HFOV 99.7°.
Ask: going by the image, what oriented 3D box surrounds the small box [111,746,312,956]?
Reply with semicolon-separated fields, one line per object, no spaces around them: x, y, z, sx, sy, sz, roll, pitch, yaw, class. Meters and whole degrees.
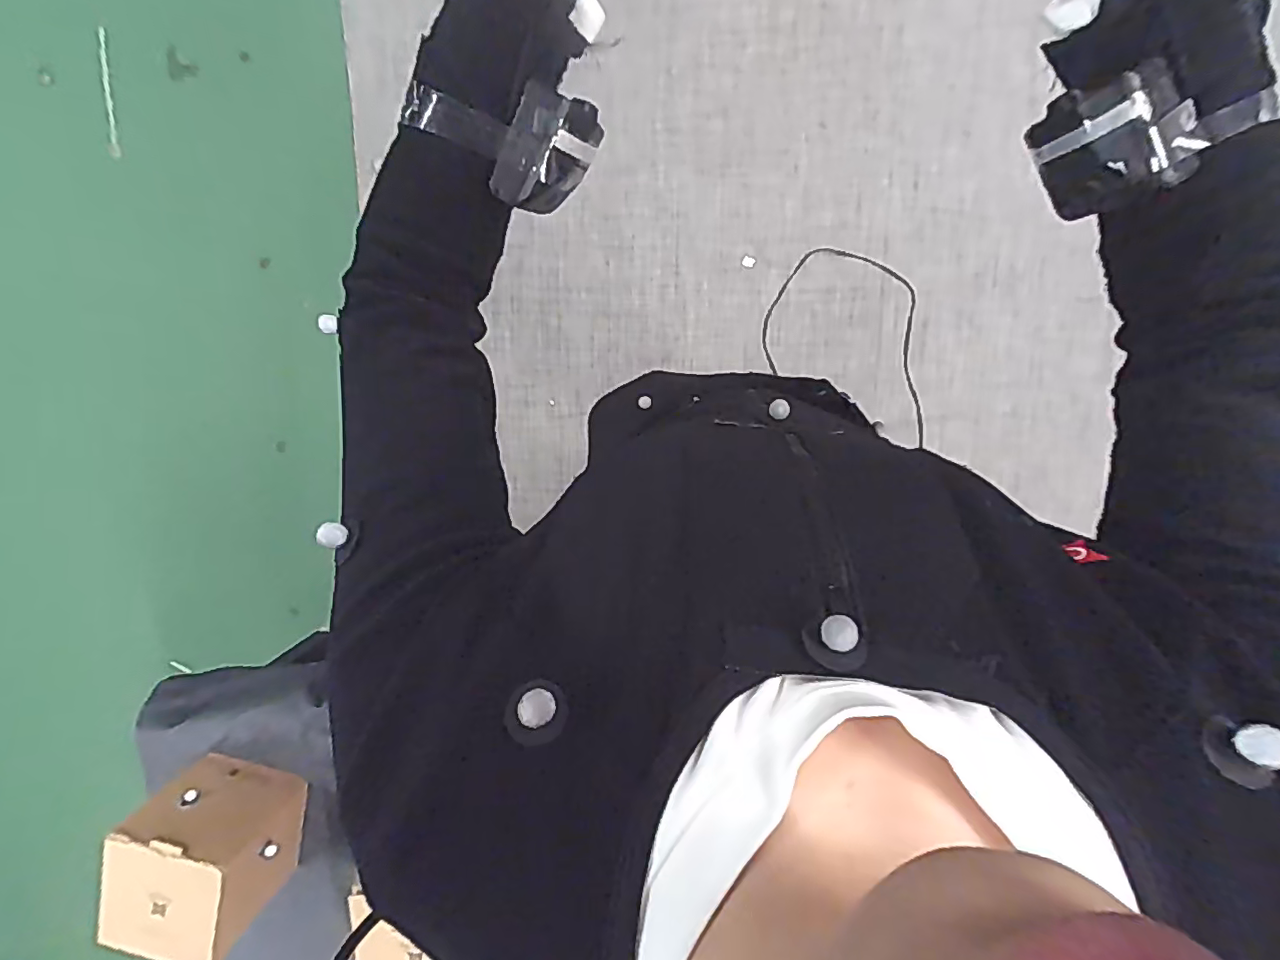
-0.622;0.534;0.802;0.168;0.176;0.179;14;103;3;small box
